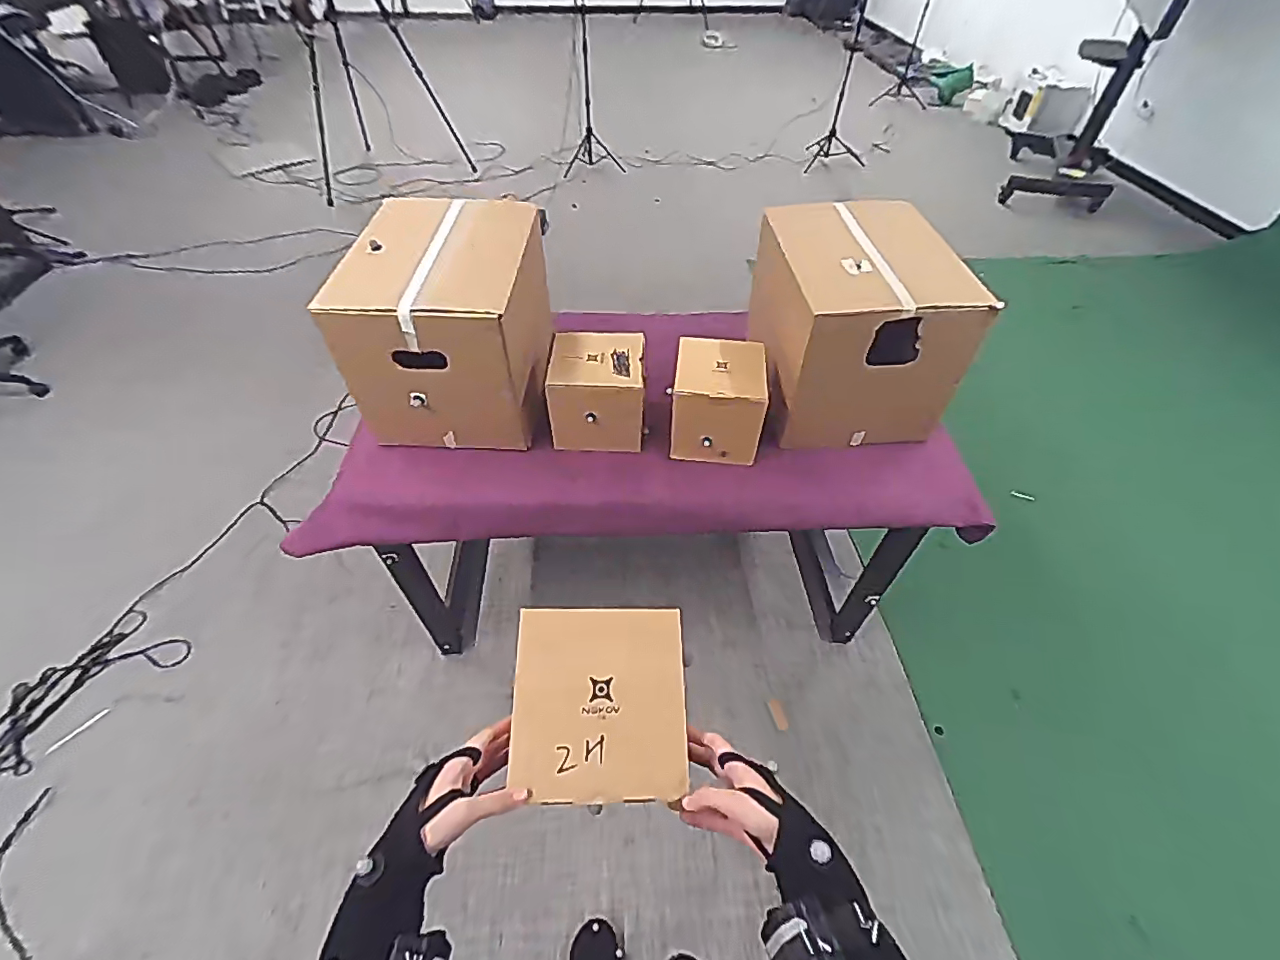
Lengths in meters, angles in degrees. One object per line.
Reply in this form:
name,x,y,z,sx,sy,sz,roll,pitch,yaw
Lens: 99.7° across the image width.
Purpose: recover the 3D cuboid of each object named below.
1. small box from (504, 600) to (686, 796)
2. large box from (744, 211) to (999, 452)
small box,-0.046,0.241,0.588,0.168,0.176,0.179,2,62,-4
large box,0.421,-0.311,1.115,0.320,0.320,0.408,-4,50,-1
